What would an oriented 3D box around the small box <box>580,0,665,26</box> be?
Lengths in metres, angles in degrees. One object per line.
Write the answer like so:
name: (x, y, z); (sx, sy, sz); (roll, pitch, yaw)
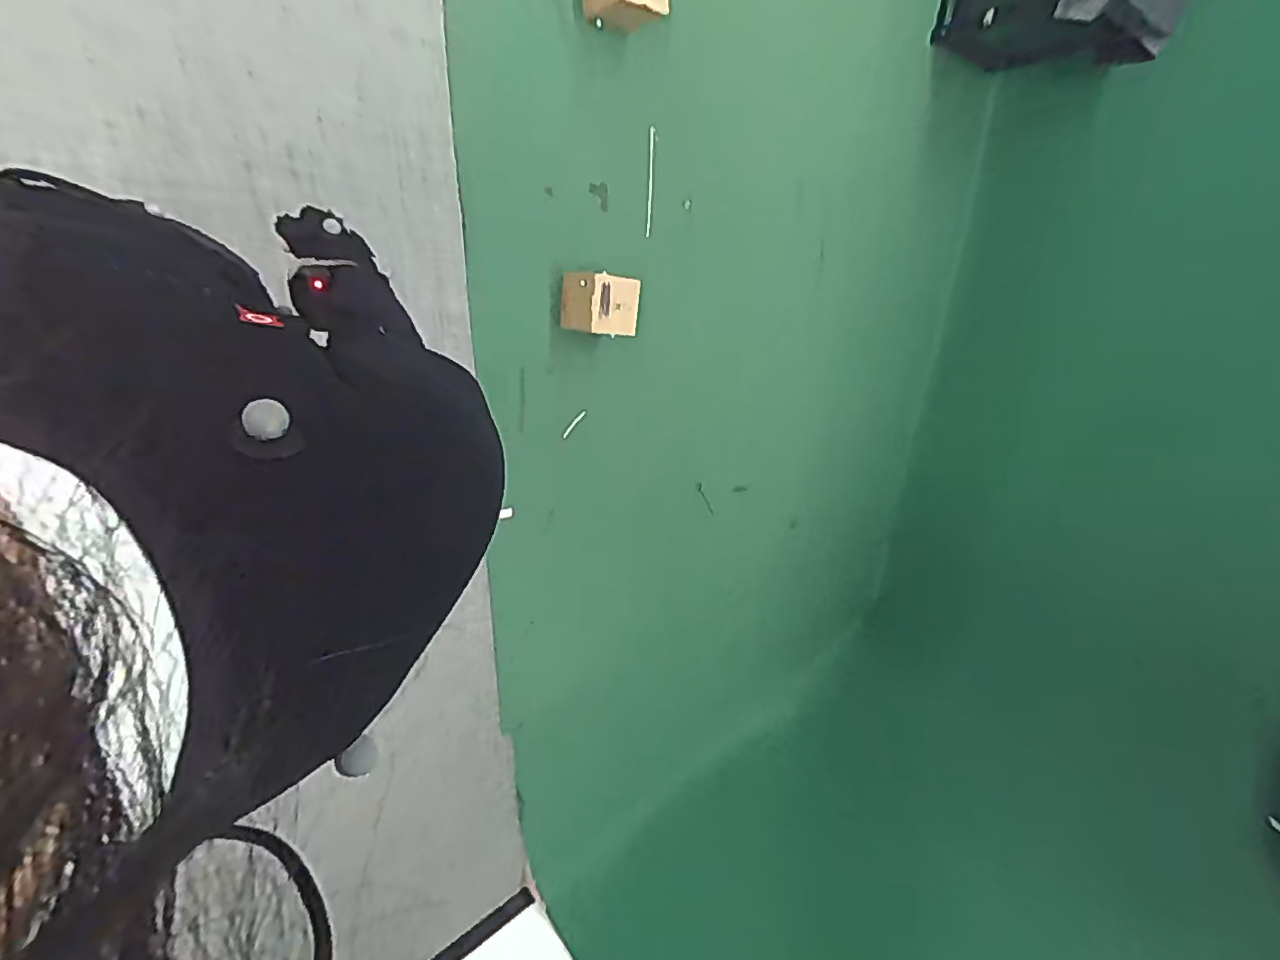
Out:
small box: (-0.048, -1.329, 1.412); (0.168, 0.176, 0.179); (-19, 118, -37)
